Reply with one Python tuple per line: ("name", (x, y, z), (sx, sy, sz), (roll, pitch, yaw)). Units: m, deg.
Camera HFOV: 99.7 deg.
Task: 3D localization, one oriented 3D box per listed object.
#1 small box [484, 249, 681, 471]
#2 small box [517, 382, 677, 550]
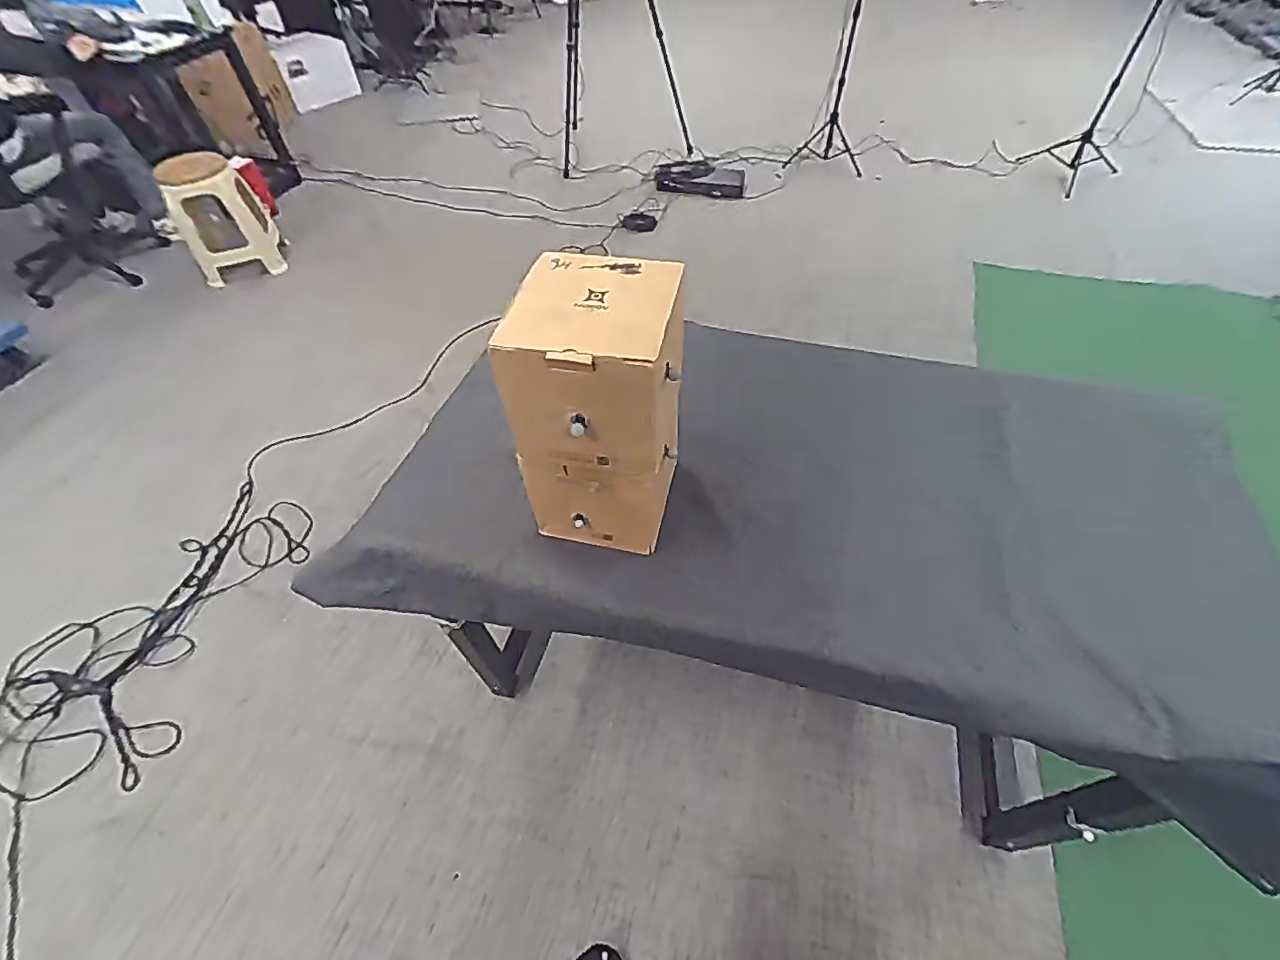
("small box", (-0.048, -0.131, 0.606), (0.168, 0.176, 0.179), (8, 53, 8))
("small box", (-0.048, -0.031, 0.736), (0.168, 0.176, 0.179), (9, 52, 9))
